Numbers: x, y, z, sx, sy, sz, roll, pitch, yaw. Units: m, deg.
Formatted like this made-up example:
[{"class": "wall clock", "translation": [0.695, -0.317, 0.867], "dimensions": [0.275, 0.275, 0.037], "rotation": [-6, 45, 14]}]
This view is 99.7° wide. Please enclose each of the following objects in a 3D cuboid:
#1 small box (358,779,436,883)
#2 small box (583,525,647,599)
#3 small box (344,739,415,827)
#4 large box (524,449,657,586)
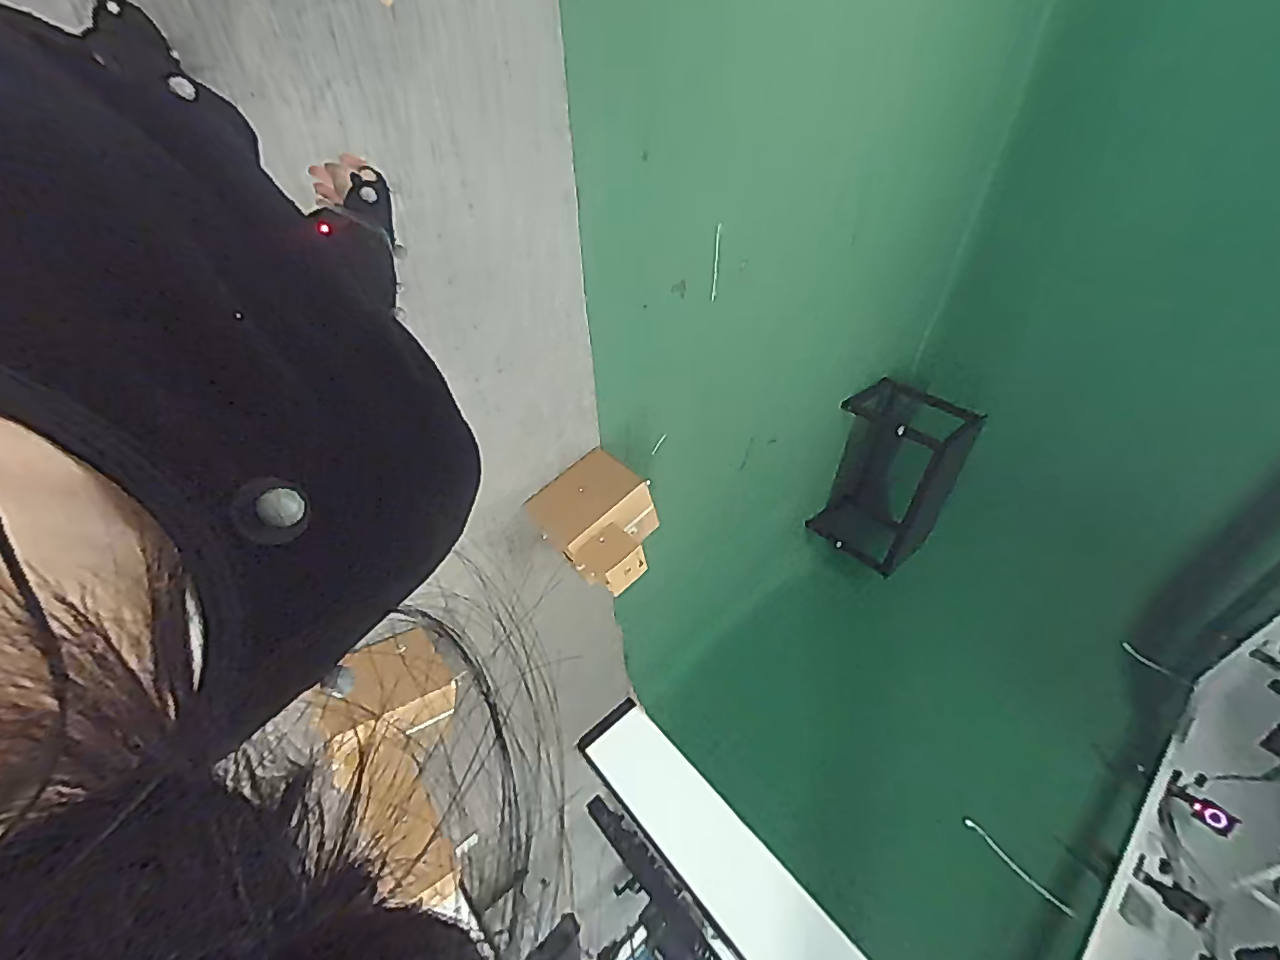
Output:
[{"class": "small box", "translation": [-0.757, 1.078, 1.674], "dimensions": [0.179, 0.176, 0.168], "rotation": [-13, 129, -43]}, {"class": "small box", "translation": [-0.100, 0.308, 2.053], "dimensions": [0.179, 0.176, 0.168], "rotation": [-37, 141, -22]}, {"class": "small box", "translation": [-0.856, 0.995, 1.772], "dimensions": [0.168, 0.176, 0.179], "rotation": [-14, 130, -42]}, {"class": "large box", "translation": [-0.197, 0.150, 2.237], "dimensions": [0.408, 0.320, 0.320], "rotation": [-41, 143, -19]}]
